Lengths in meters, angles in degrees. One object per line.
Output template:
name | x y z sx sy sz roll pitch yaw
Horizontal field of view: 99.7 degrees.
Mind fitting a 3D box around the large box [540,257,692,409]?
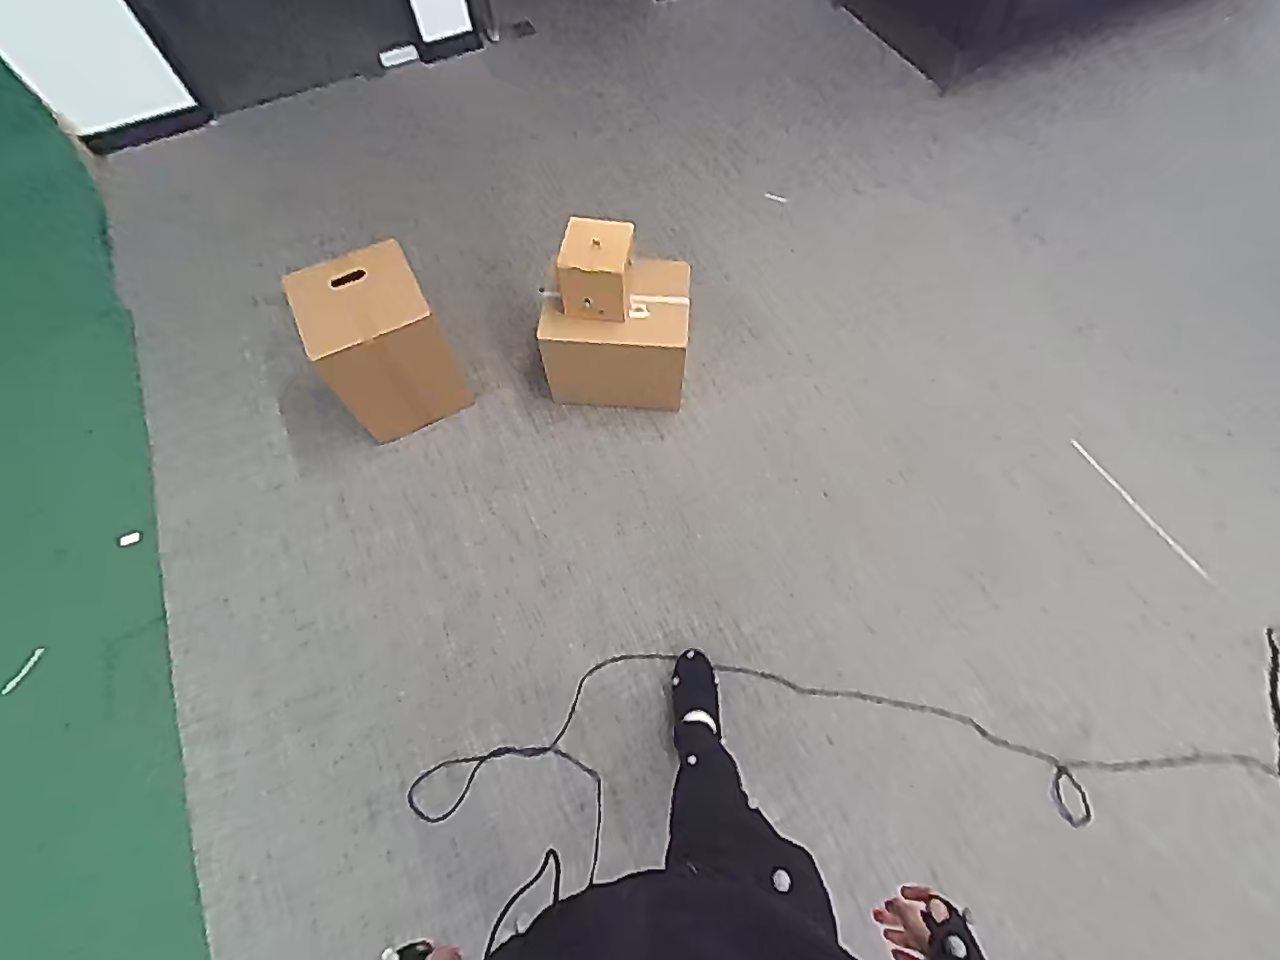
large box | -0.063 -0.427 1.615 0.408 0.320 0.320 4 65 1

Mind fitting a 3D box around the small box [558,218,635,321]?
small box | -0.107 -0.543 1.401 0.168 0.176 0.179 8 64 4
